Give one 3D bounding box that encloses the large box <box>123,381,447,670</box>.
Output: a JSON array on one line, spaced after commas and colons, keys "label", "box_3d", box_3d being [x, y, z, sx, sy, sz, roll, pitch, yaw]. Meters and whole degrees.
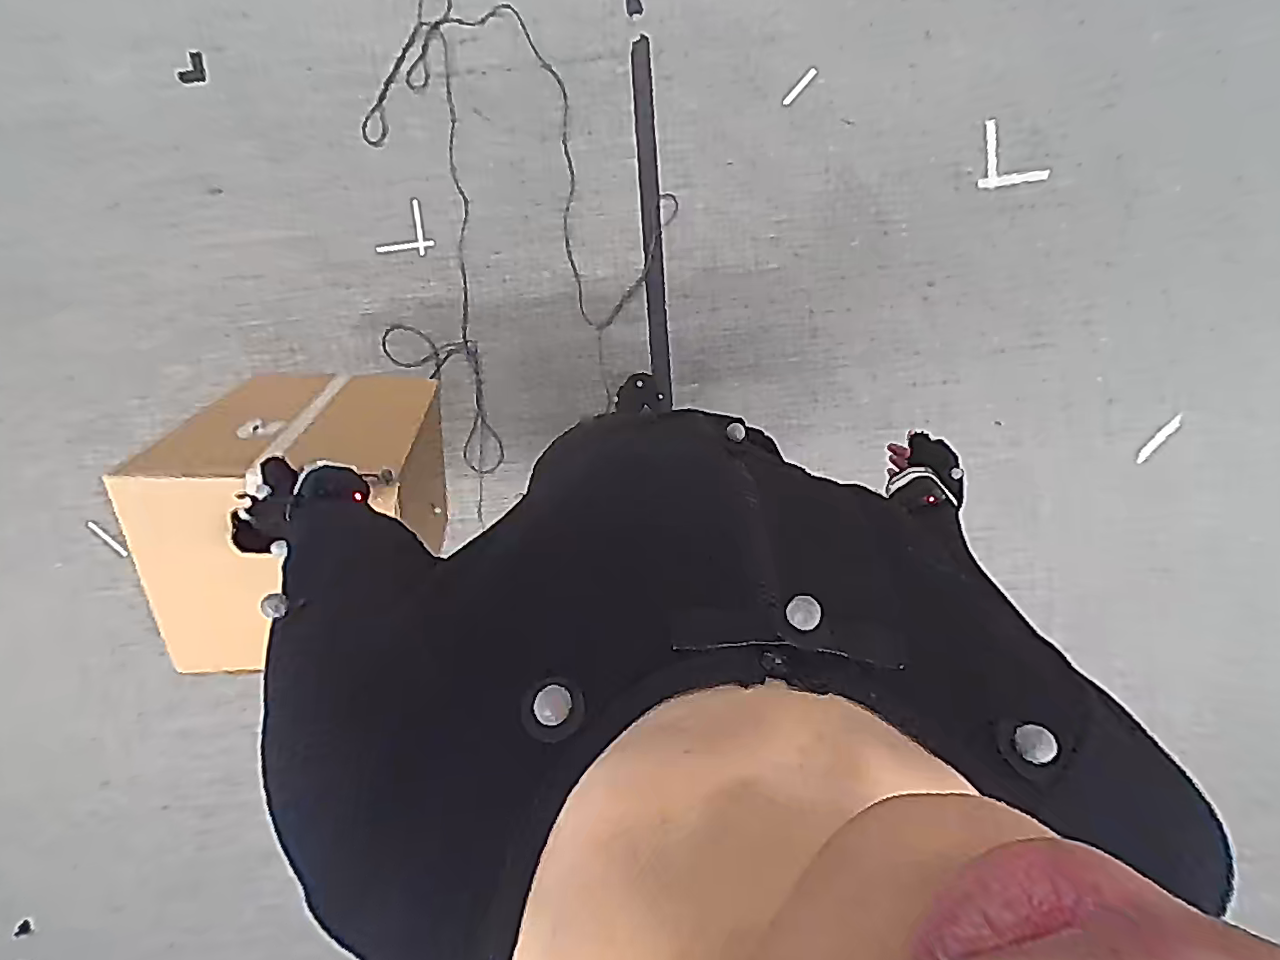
[{"label": "large box", "box_3d": [-0.512, 0.047, 0.902, 0.320, 0.408, 0.320, -2, 118, -11]}]
